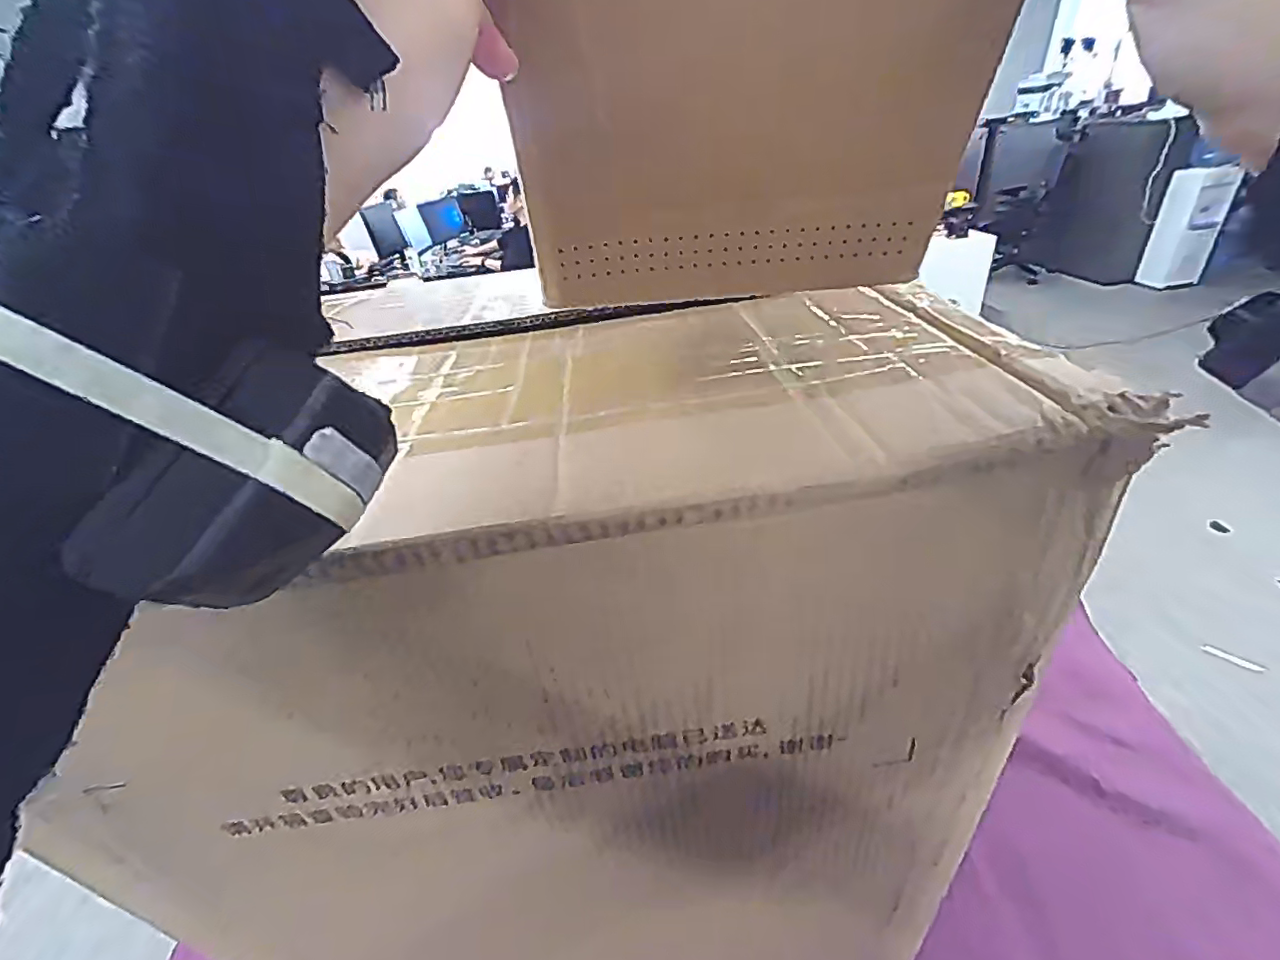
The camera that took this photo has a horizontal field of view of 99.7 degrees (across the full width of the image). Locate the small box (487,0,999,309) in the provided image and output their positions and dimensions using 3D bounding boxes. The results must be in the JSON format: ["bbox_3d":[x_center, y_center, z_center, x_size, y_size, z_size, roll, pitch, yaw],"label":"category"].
[{"bbox_3d":[0.033,-0.192,0.237,0.179,0.176,0.168,-4,52,-1],"label":"small box"}]
